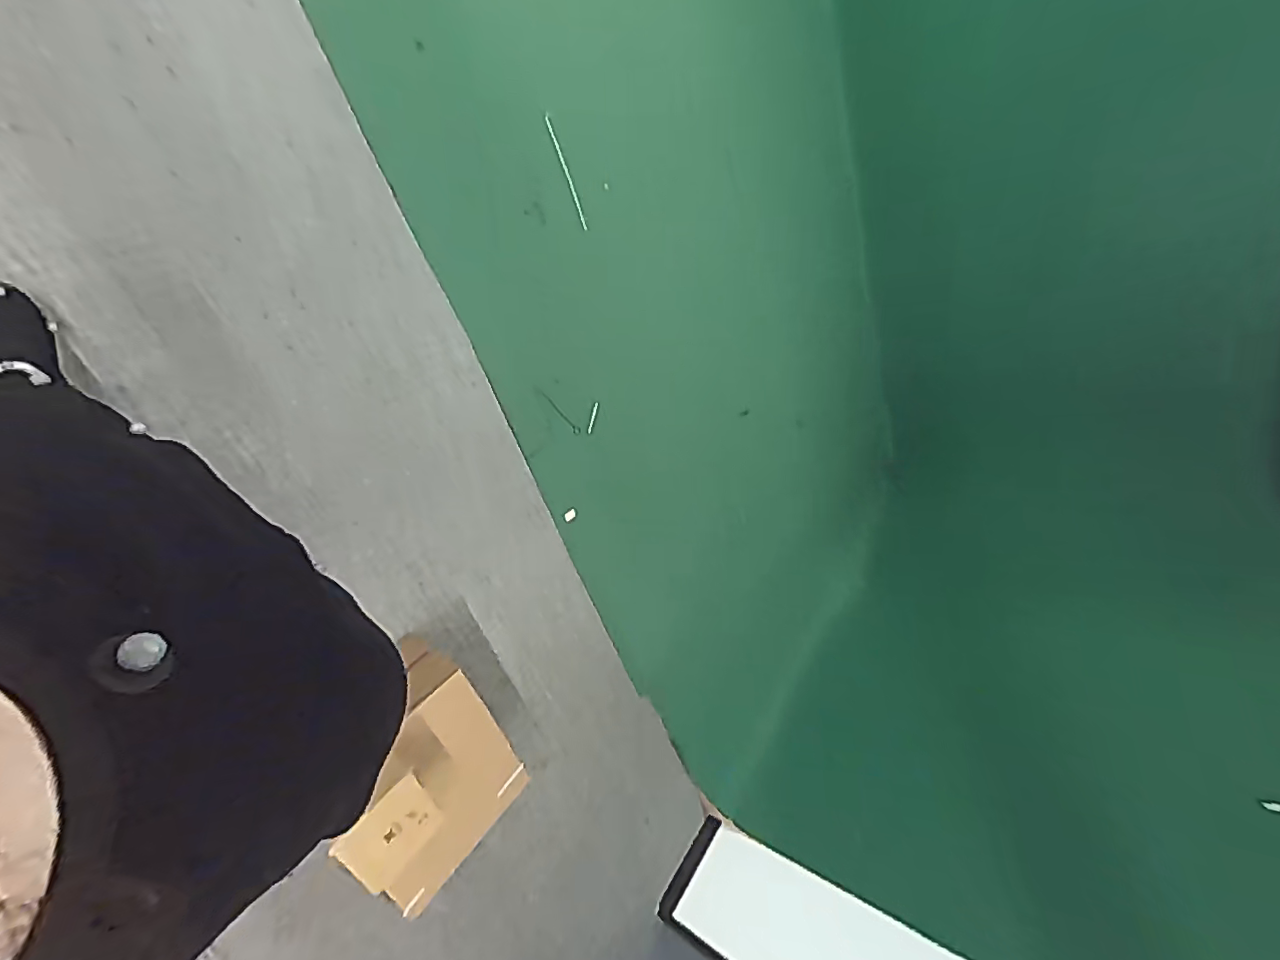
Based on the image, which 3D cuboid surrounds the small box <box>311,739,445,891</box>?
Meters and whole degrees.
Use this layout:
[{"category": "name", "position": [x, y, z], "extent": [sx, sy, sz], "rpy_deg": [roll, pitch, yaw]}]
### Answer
[{"category": "small box", "position": [-0.552, 0.688, 1.129], "extent": [0.179, 0.176, 0.168], "rpy_deg": [-40, 122, -37]}]
